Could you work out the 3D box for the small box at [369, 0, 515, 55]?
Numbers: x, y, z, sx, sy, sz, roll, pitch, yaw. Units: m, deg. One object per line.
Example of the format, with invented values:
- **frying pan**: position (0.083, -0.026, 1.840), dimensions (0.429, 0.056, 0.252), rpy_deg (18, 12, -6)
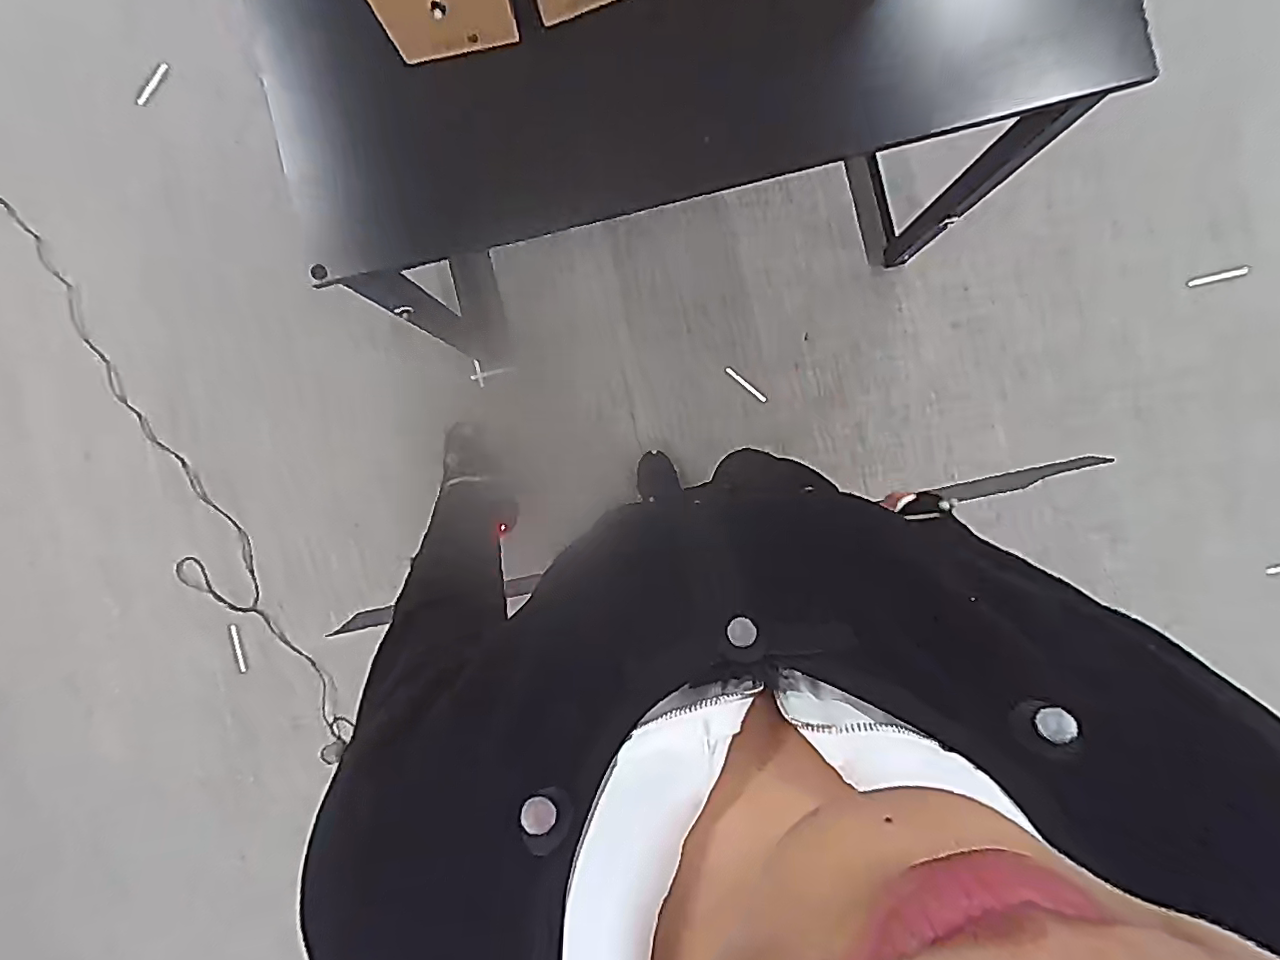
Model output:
- **small box**: position (-0.268, -0.685, 0.686), dimensions (0.168, 0.176, 0.179), rpy_deg (-10, 91, 2)
